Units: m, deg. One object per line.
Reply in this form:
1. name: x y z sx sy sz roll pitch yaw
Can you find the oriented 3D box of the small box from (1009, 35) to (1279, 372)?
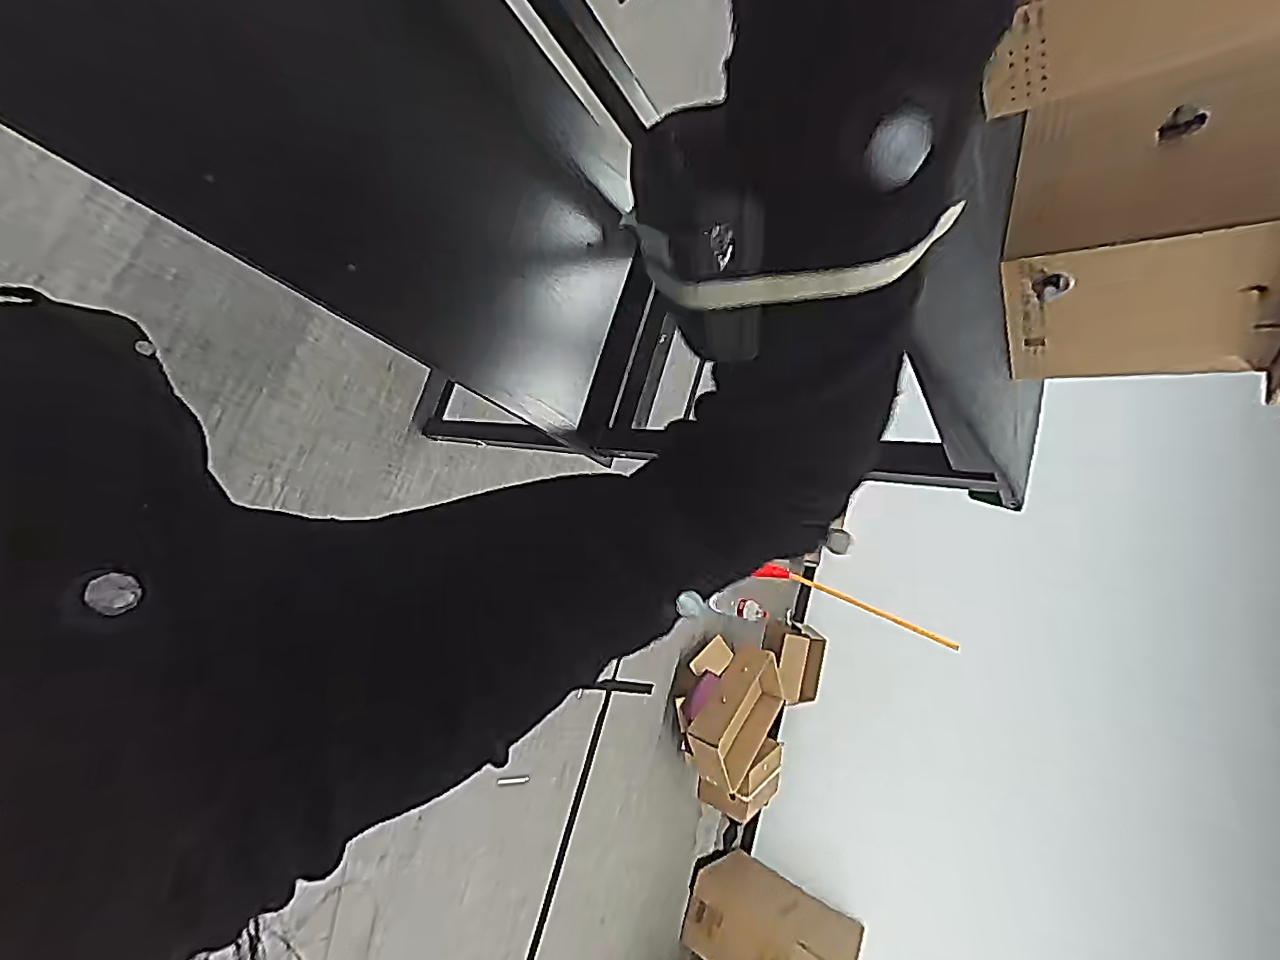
1. small box: 0.404 -0.202 0.434 0.168 0.176 0.179 36 66 -47
